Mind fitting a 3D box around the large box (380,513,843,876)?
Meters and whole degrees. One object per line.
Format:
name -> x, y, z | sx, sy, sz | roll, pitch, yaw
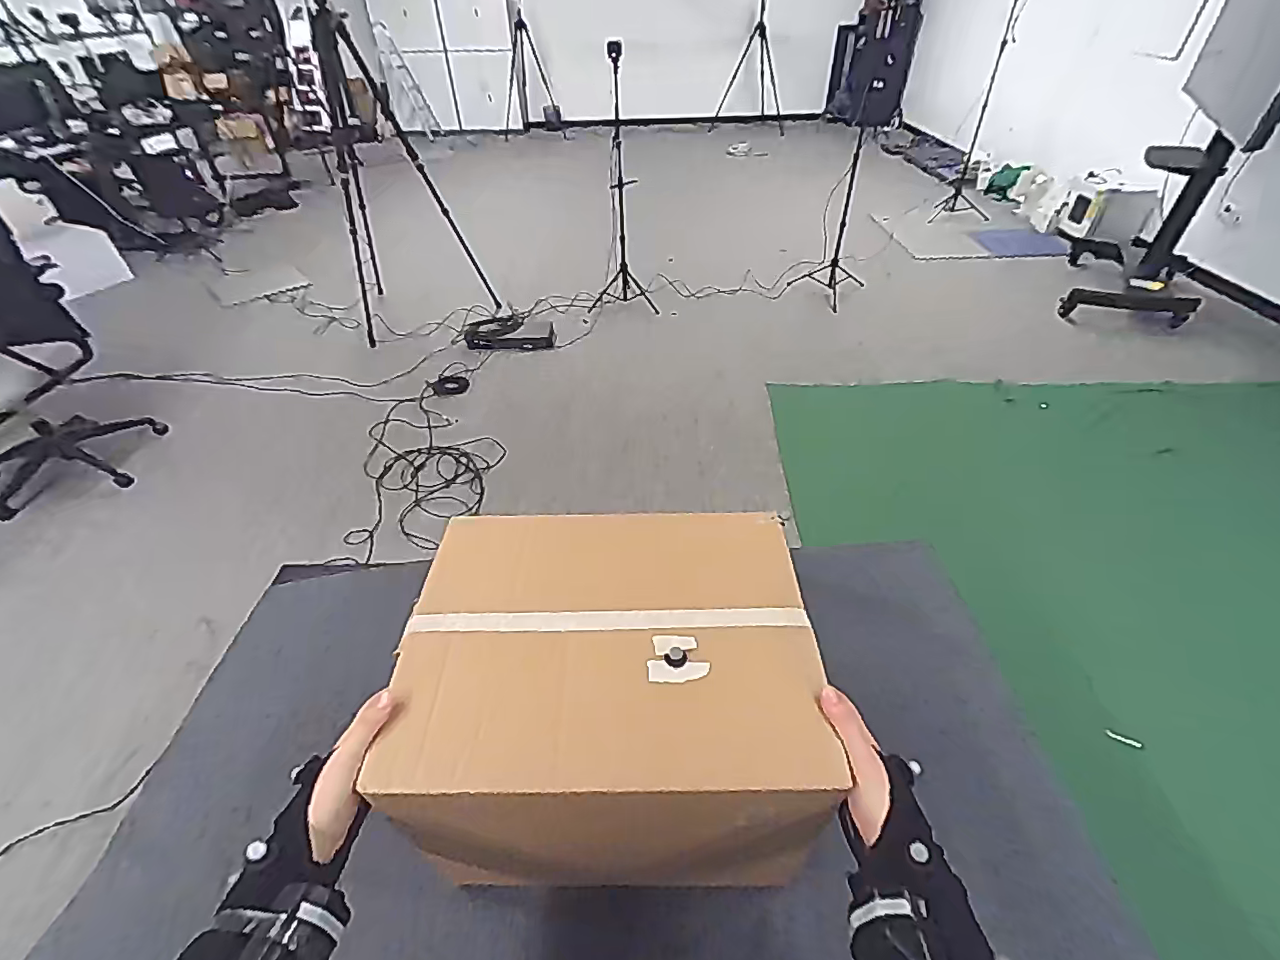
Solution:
large box -> -0.026, 0.259, 0.665 | 0.408, 0.320, 0.320 | -1, 43, 0
